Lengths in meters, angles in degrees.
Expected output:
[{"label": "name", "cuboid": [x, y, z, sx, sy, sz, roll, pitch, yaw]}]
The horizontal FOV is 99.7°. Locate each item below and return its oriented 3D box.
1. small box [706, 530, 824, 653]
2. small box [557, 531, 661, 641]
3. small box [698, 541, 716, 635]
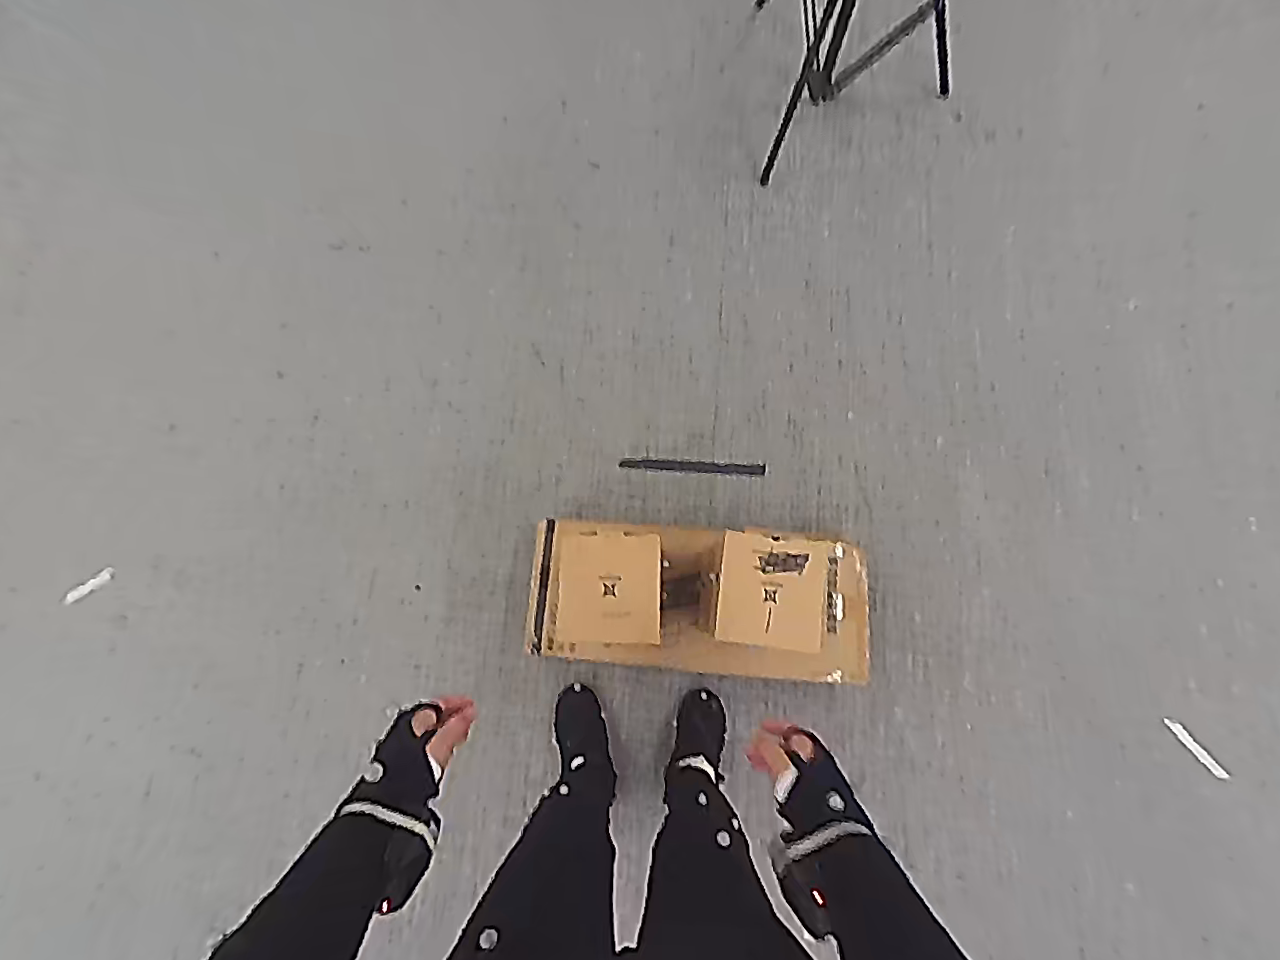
[{"label": "small box", "cuboid": [0.209, 0.191, 0.938, 0.168, 0.176, 0.179, 7, 79, 4]}, {"label": "small box", "cuboid": [-0.047, 0.186, 0.948, 0.168, 0.176, 0.179, -1, 79, 3]}, {"label": "small box", "cuboid": [0.206, 0.225, 1.099, 0.168, 0.176, 0.179, 3, 78, 4]}]
